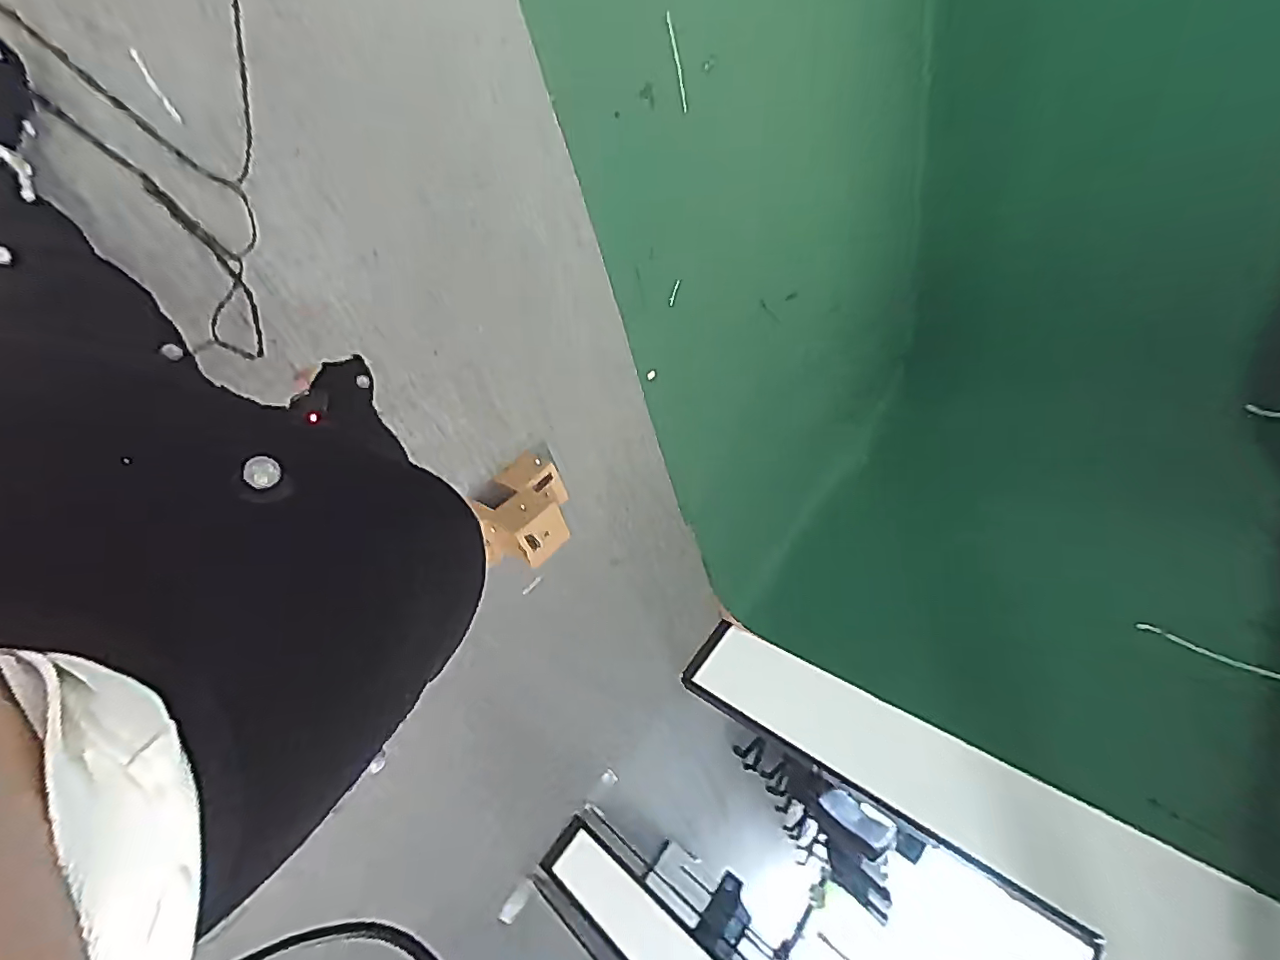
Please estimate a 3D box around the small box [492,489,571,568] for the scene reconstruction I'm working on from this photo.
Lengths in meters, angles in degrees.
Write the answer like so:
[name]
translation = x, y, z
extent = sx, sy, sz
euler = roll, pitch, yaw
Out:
[small box]
translation = -0.369, 0.156, 1.805
extent = 0.179, 0.176, 0.168
euler = -44, 134, -30
